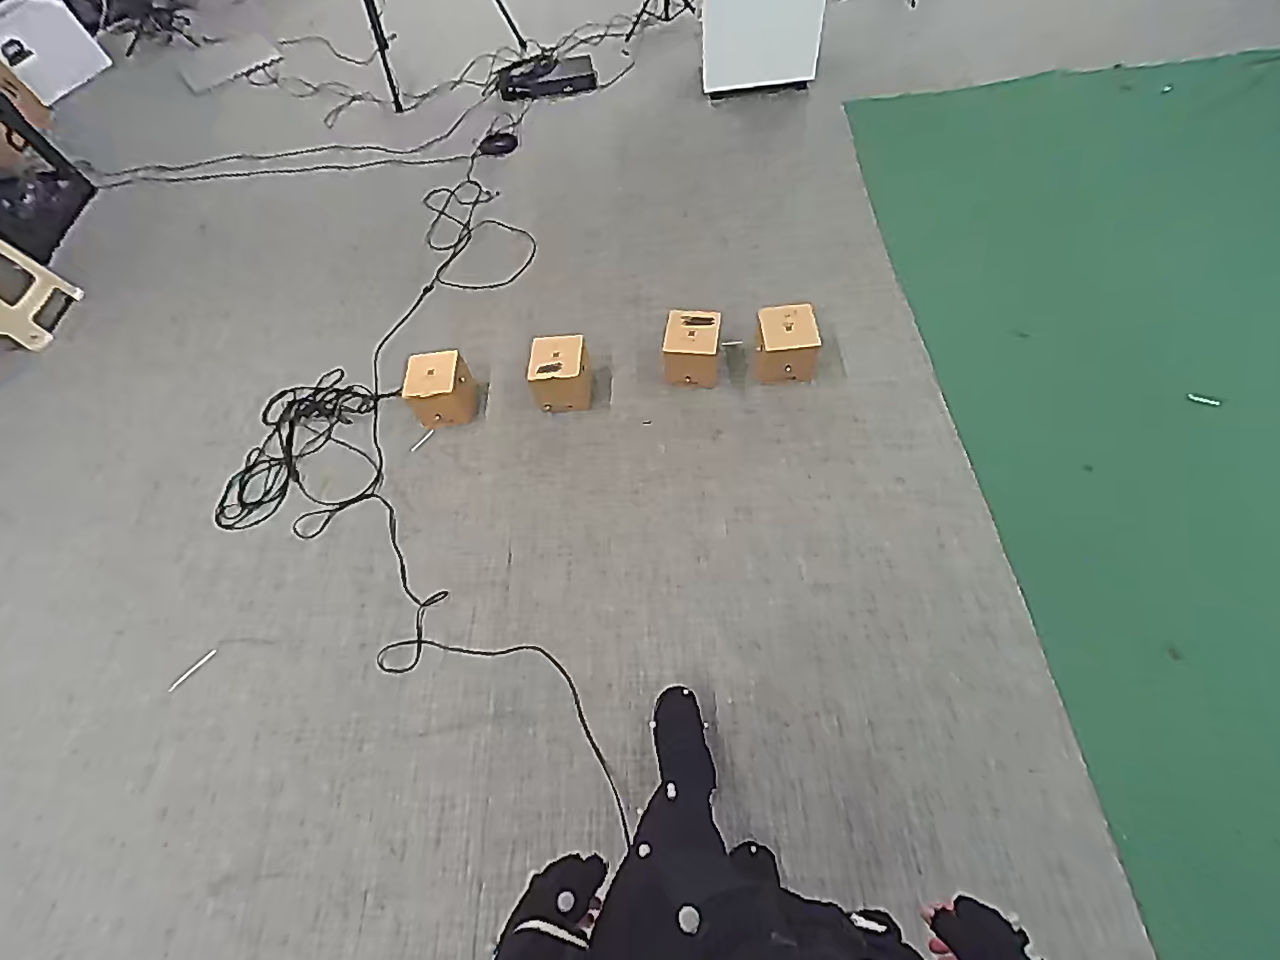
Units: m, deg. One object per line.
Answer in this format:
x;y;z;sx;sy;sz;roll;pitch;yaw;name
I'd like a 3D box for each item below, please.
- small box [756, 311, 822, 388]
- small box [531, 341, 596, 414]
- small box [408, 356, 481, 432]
0.469;-0.408;1.723;0.168;0.176;0.179;-5;61;4;small box
-0.244;-0.329;1.770;0.168;0.176;0.179;-2;60;7;small box
-0.644;-0.284;1.801;0.168;0.176;0.179;-6;61;5;small box
